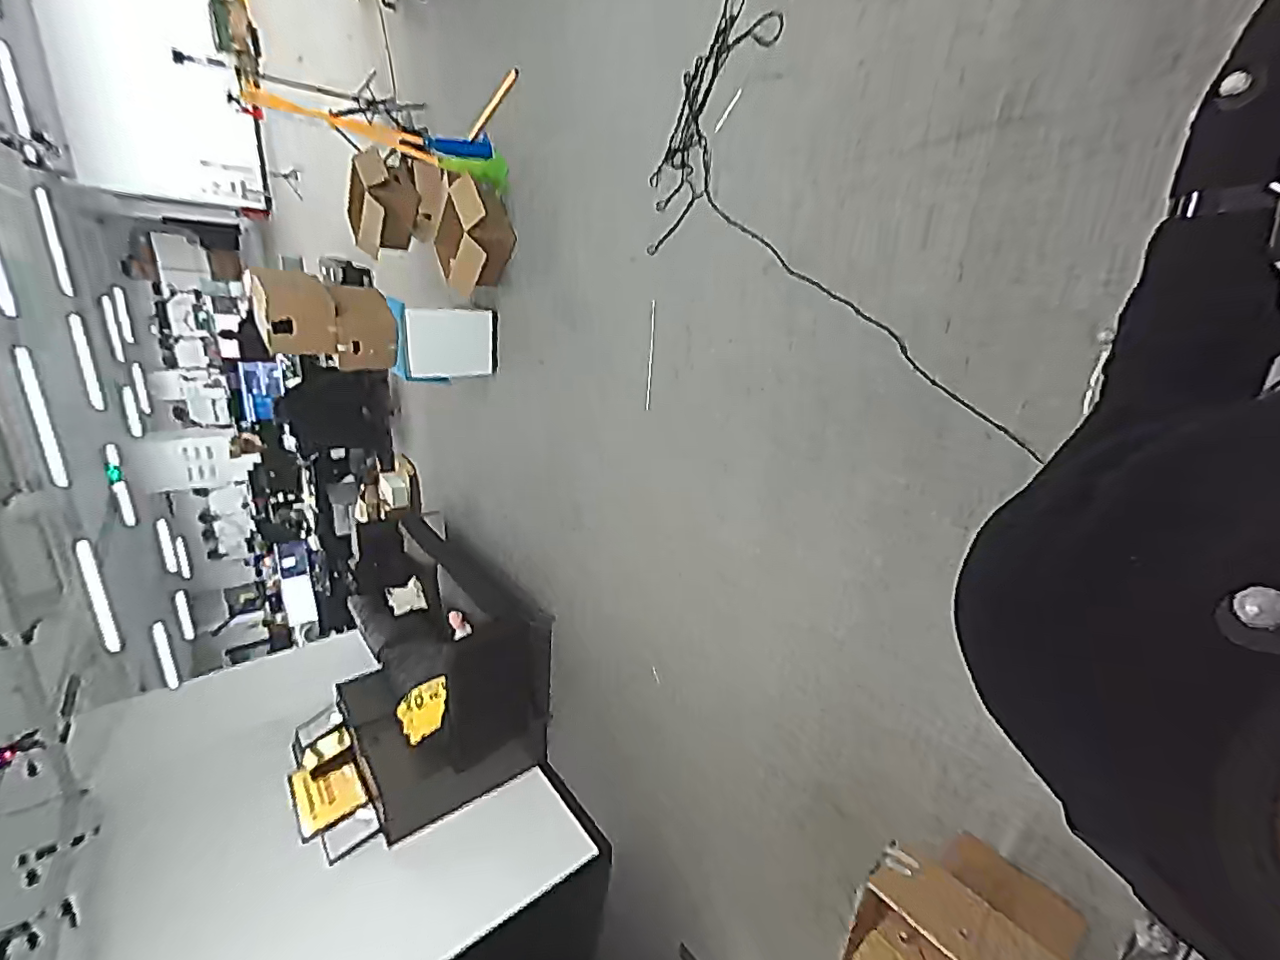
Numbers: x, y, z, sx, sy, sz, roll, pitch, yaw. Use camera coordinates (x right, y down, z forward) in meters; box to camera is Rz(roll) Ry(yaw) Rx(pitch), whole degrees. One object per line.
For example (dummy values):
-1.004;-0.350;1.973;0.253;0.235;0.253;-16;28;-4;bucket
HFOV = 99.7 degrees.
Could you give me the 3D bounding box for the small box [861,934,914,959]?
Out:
0.520;1.102;1.108;0.168;0.176;0.179;22;116;47;small box
